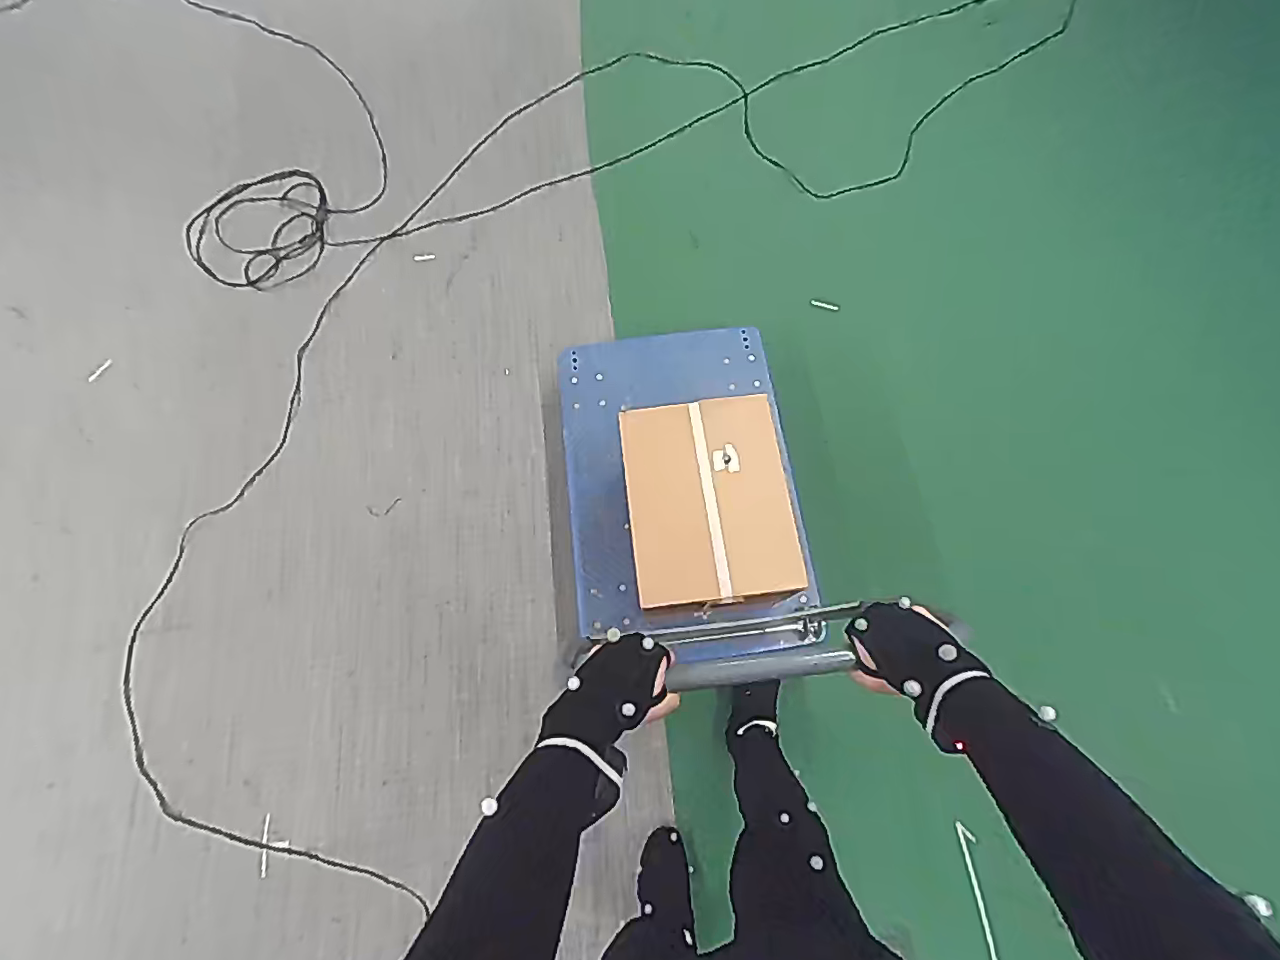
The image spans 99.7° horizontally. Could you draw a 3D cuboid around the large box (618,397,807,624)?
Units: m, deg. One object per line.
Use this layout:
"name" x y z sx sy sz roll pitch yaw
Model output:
"large box" 0.138 0.082 1.200 0.320 0.320 0.408 -7 70 -1
